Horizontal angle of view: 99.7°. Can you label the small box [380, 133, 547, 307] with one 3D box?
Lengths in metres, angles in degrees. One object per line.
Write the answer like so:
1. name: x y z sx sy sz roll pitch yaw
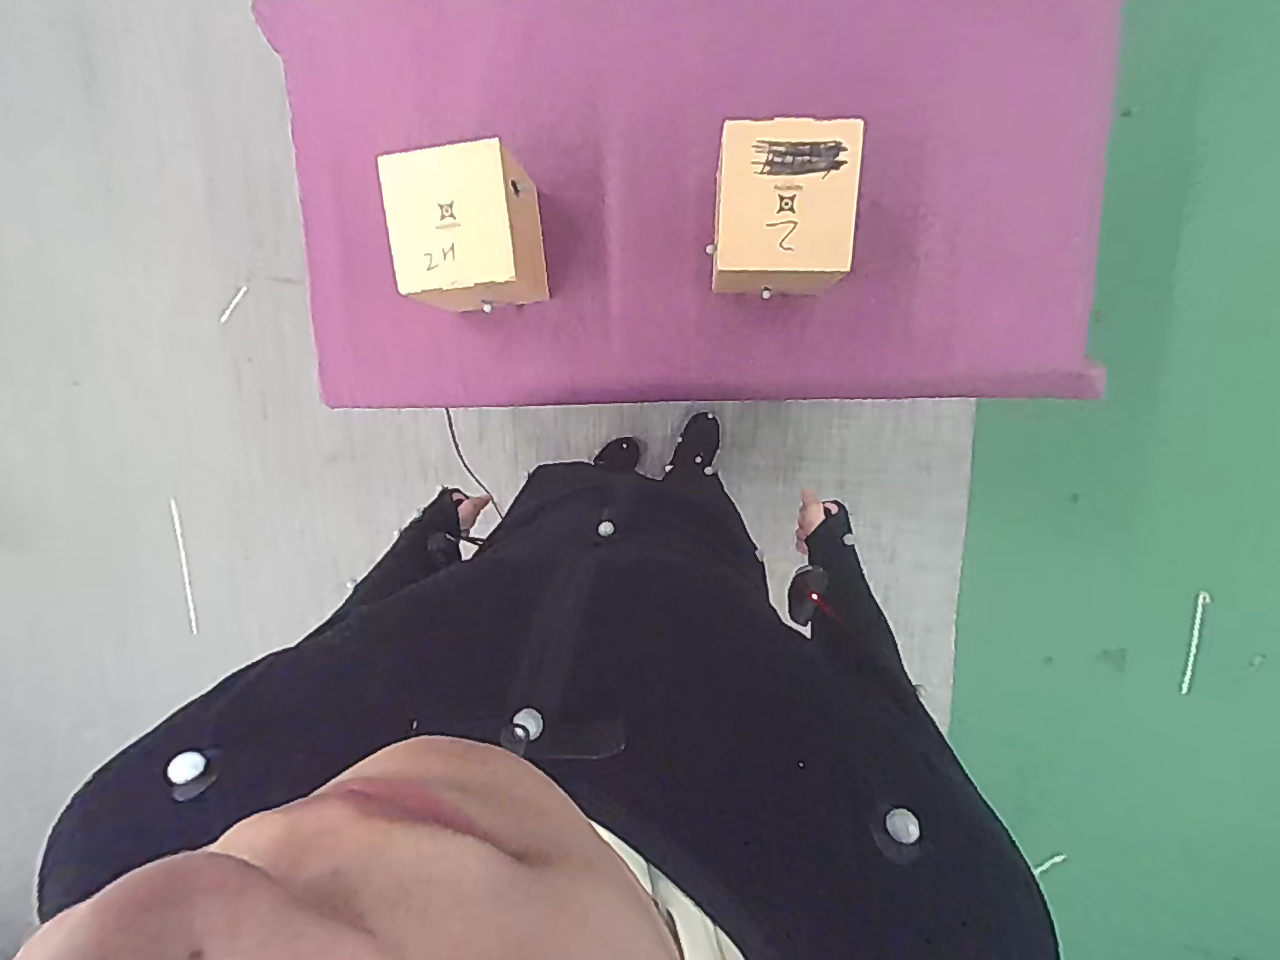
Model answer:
1. small box: -0.241 -0.360 0.780 0.168 0.176 0.179 -4 99 7
